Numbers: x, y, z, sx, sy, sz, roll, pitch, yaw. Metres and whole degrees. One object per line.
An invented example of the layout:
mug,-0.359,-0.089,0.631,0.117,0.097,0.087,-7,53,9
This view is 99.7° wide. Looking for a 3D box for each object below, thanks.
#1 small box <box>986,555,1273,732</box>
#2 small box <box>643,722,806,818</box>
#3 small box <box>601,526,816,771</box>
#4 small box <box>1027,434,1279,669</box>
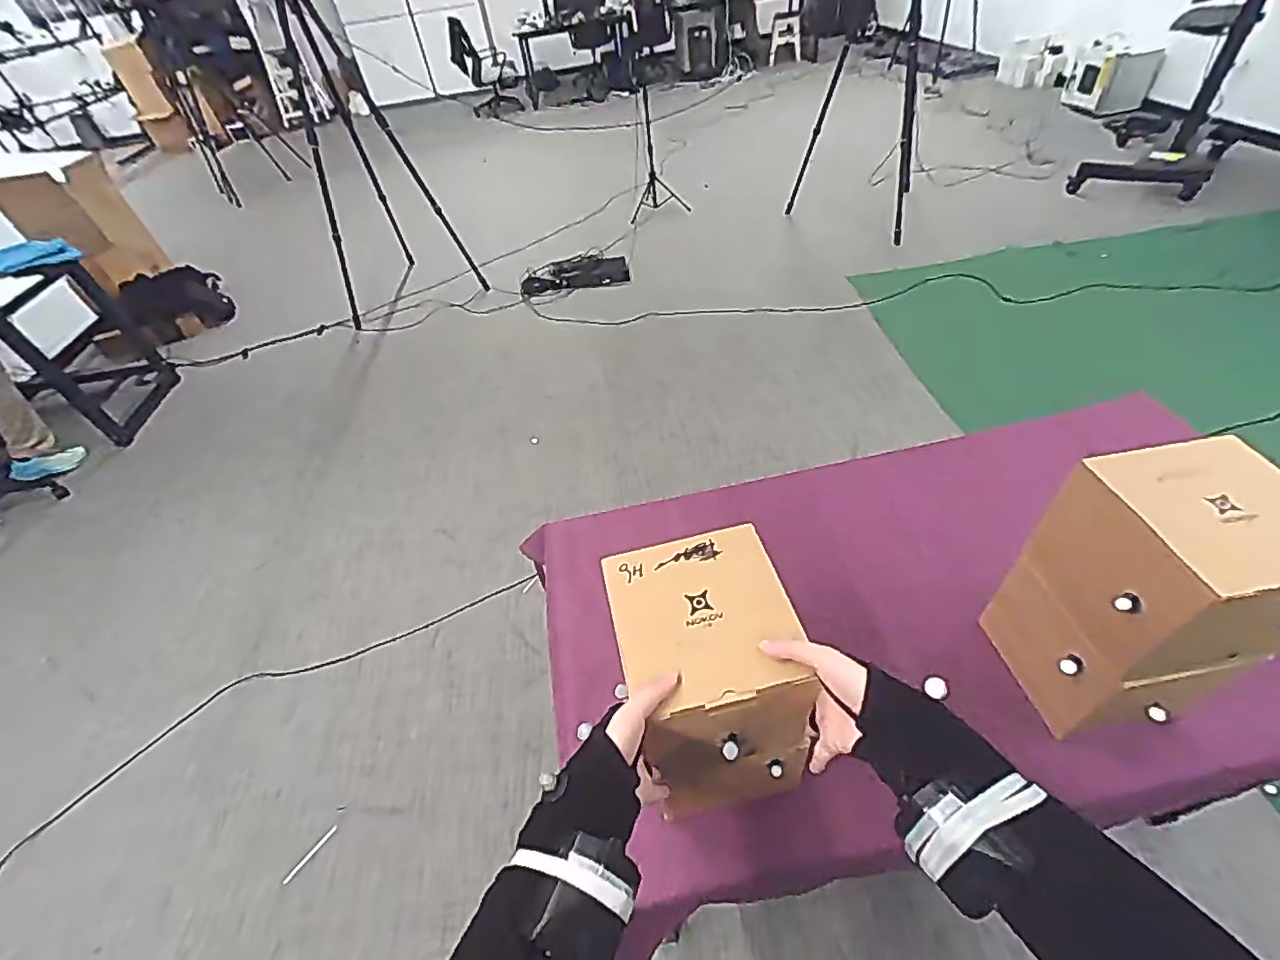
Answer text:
small box,0.583,0.197,0.679,0.168,0.176,0.179,-11,45,0
small box,0.090,0.296,0.677,0.179,0.176,0.168,-13,45,-3
small box,0.064,0.180,0.563,0.168,0.176,0.179,-13,46,-4
small box,0.561,0.081,0.566,0.168,0.176,0.179,-9,45,1
